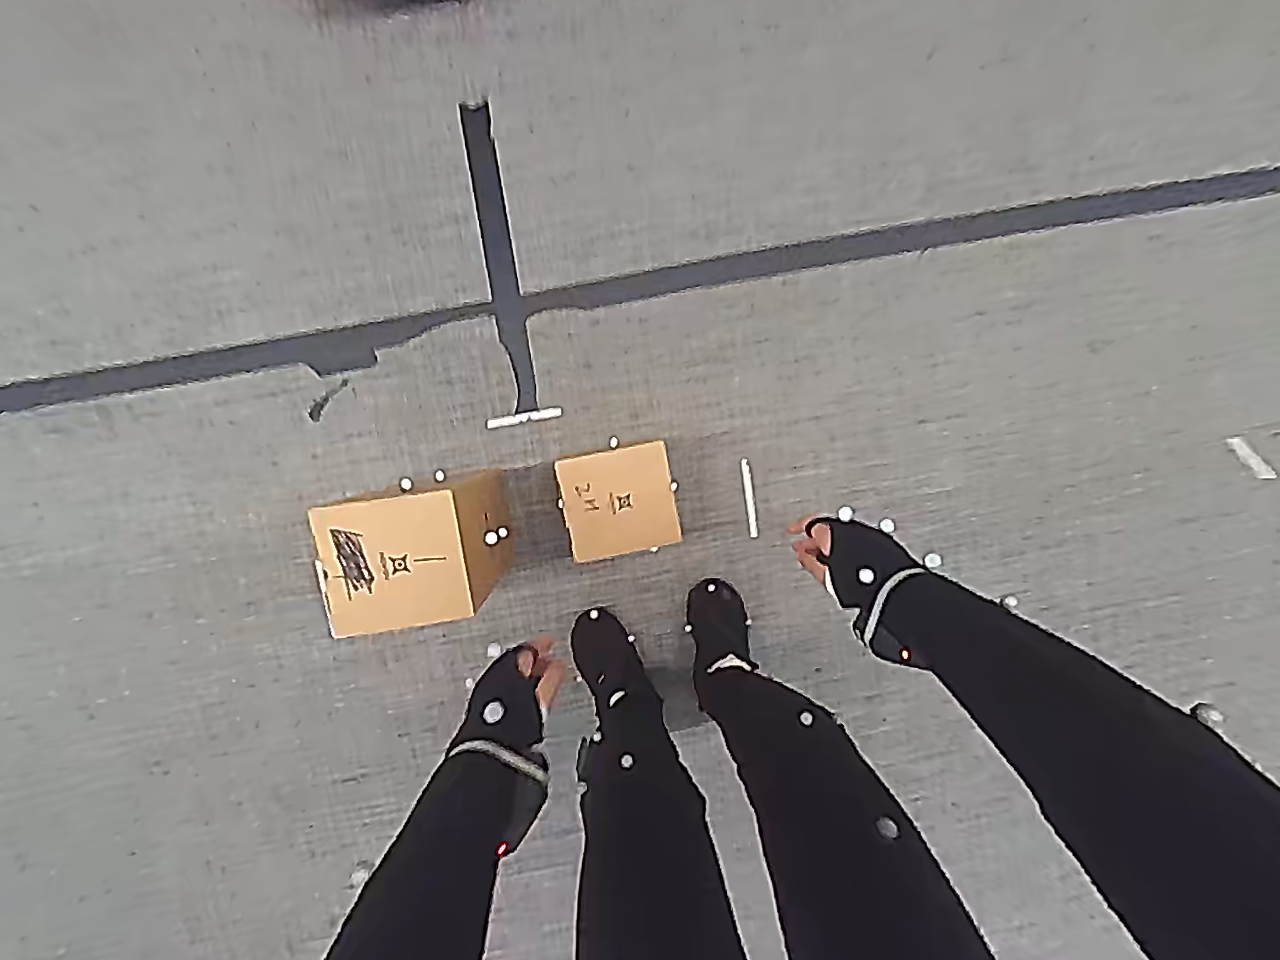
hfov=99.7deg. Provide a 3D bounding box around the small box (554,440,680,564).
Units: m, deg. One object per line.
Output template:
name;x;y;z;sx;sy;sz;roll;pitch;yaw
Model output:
small box;-0.040;0.028;0.919;0.179;0.176;0.168;-11;97;-2

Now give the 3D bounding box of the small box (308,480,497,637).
small box;-0.310;0.096;0.742;0.179;0.176;0.168;-8;96;-3

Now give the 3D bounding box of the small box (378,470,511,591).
small box;-0.321;0.086;0.907;0.168;0.176;0.179;-8;97;-3
